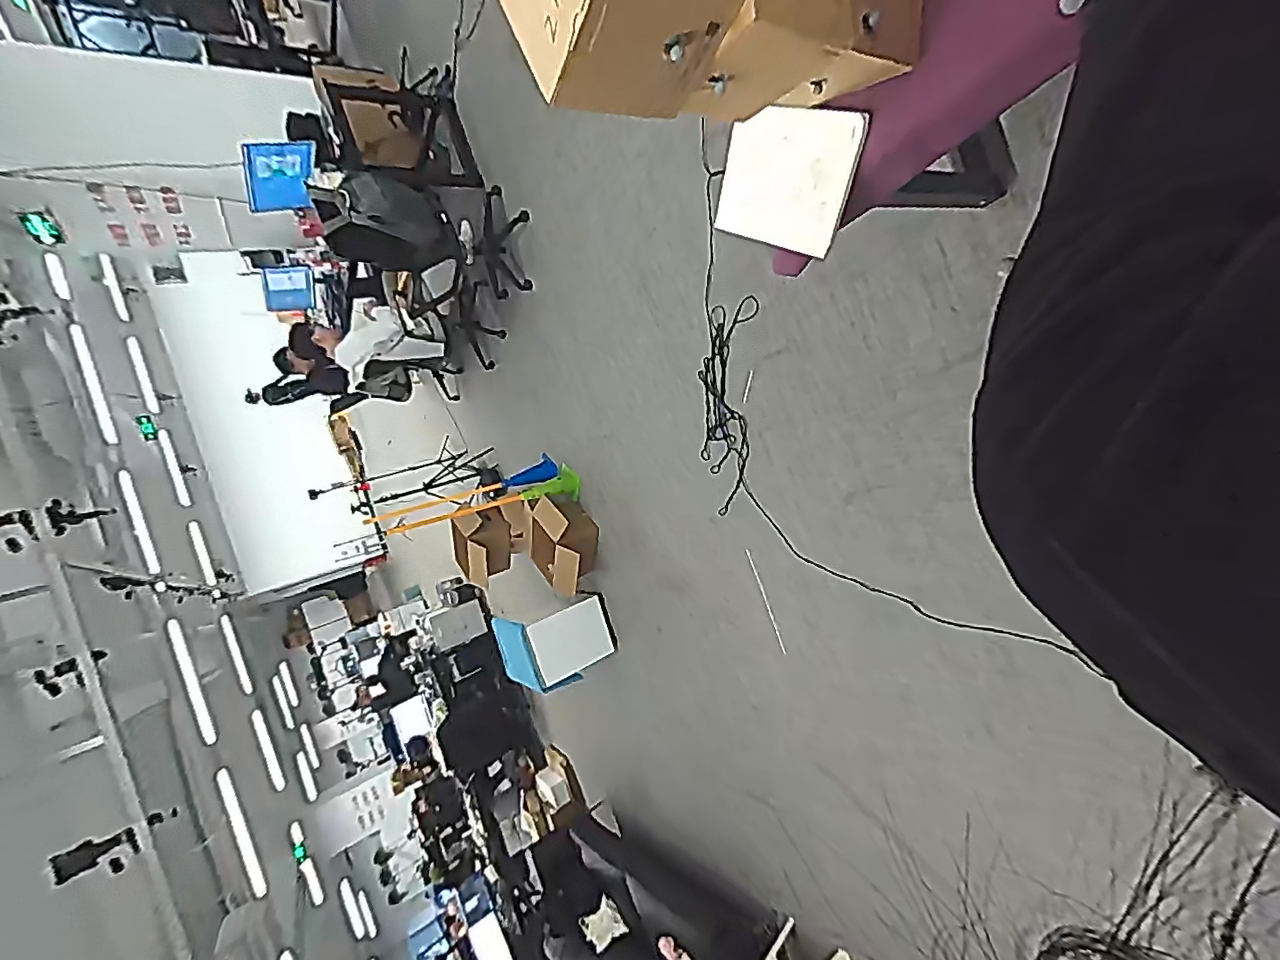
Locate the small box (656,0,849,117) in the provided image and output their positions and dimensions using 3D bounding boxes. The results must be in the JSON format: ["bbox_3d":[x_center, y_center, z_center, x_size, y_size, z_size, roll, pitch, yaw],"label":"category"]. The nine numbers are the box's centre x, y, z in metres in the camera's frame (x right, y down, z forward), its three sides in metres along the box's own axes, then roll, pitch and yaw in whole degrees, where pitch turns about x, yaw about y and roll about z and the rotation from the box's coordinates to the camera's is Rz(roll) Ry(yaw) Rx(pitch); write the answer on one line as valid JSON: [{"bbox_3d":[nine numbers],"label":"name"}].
[{"bbox_3d":[0.118,-0.546,0.617,0.179,0.176,0.168,6,110,55],"label":"small box"}]

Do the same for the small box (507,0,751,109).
[{"bbox_3d":[-0.017,-0.504,0.533,0.168,0.176,0.179,-35,76,57],"label":"small box"}]
